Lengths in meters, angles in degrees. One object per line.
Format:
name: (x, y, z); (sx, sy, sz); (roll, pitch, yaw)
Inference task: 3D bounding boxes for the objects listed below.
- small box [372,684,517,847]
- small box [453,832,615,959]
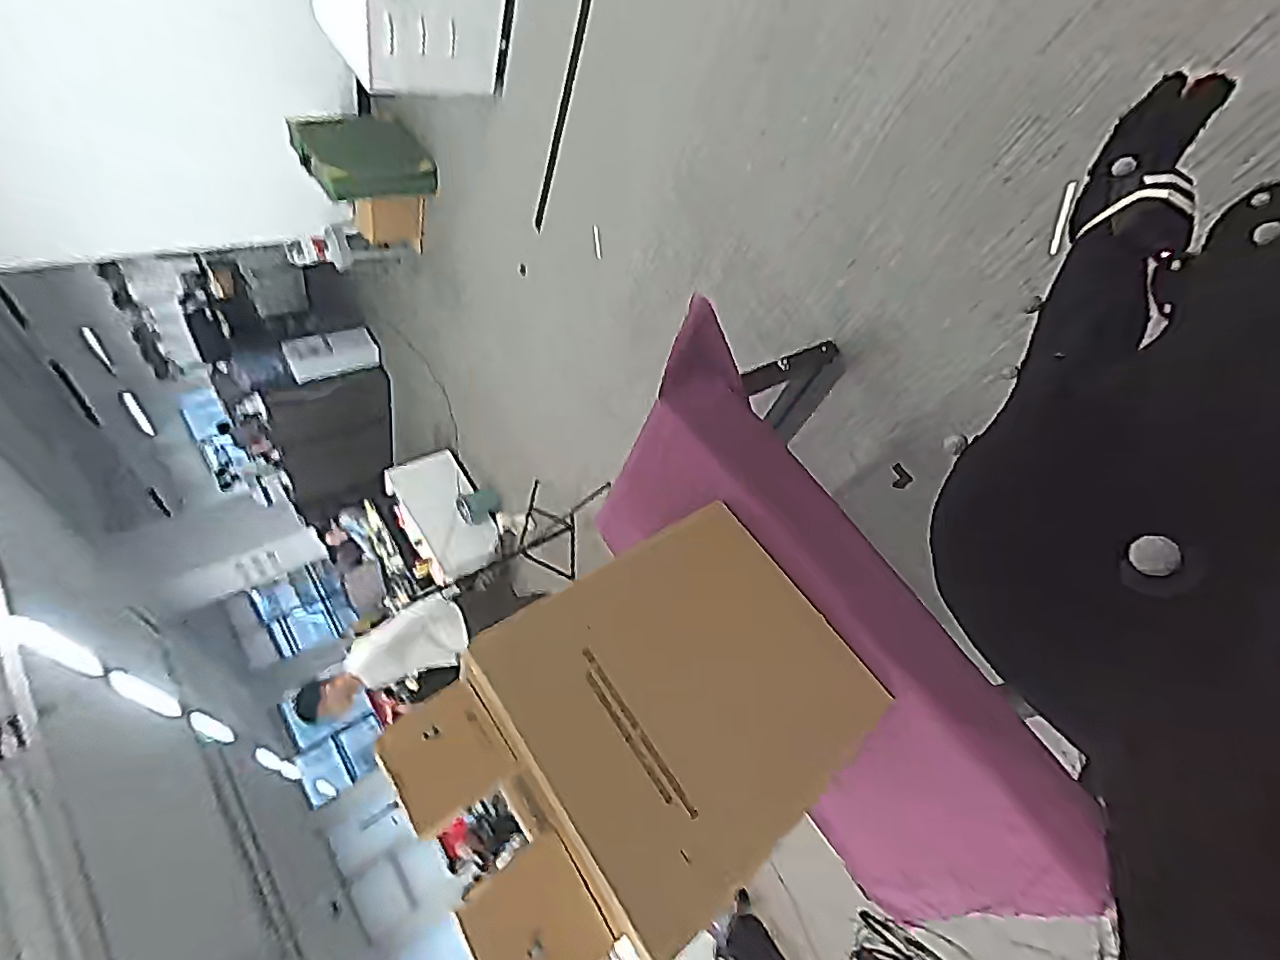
small box: (-0.323, 0.474, 0.908); (0.168, 0.176, 0.179); (50, 144, 21)
small box: (-0.163, 0.675, 0.818); (0.179, 0.176, 0.168); (52, 144, 18)
